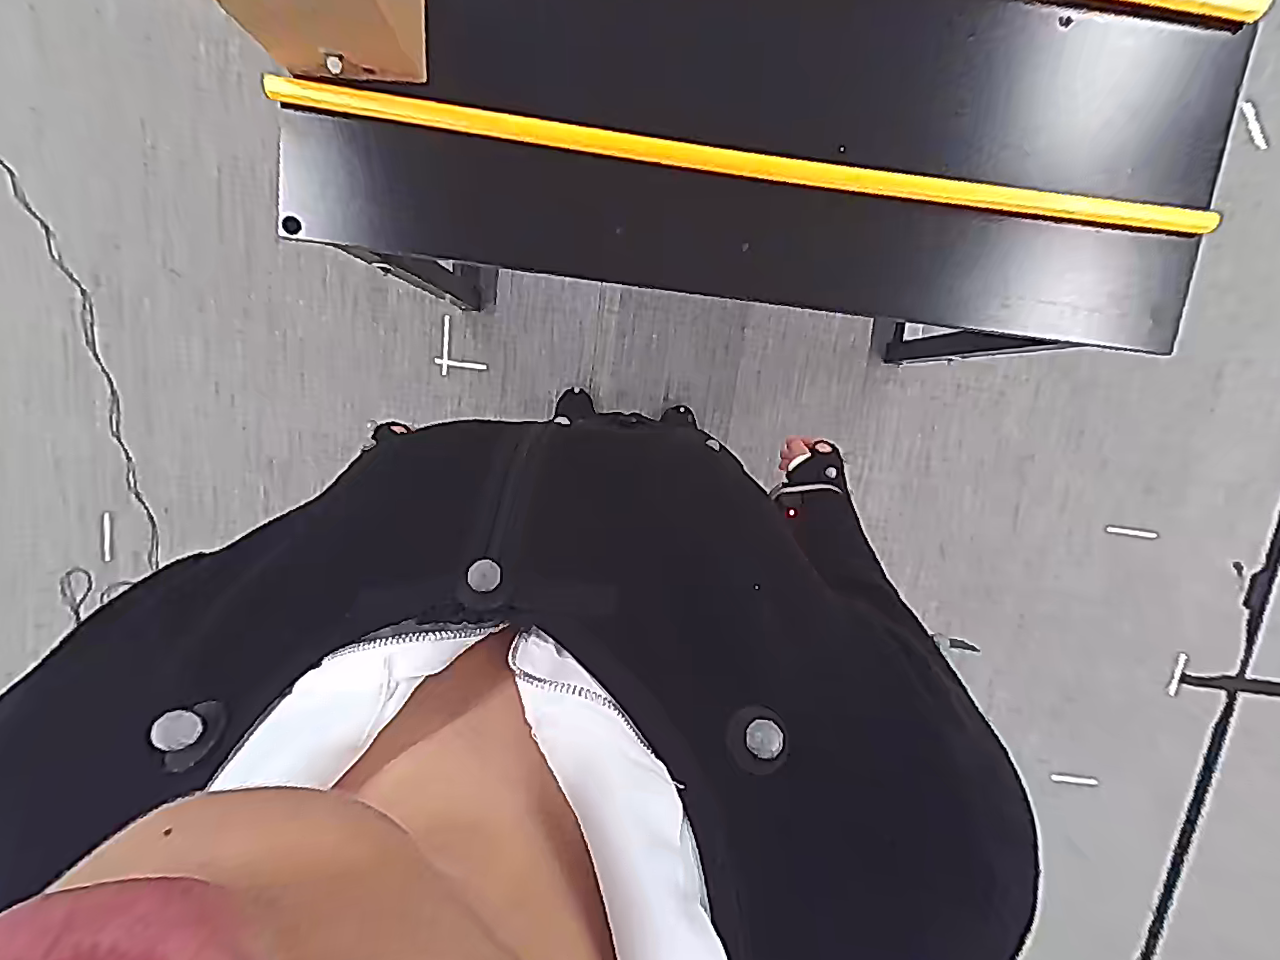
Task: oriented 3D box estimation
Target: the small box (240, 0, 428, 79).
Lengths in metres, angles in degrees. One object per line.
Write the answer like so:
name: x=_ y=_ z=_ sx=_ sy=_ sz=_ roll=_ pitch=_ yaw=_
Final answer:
small box: x=-0.335 y=-0.571 z=0.572 sx=0.168 sy=0.176 sz=0.179 roll=2 pitch=100 yaw=-2
